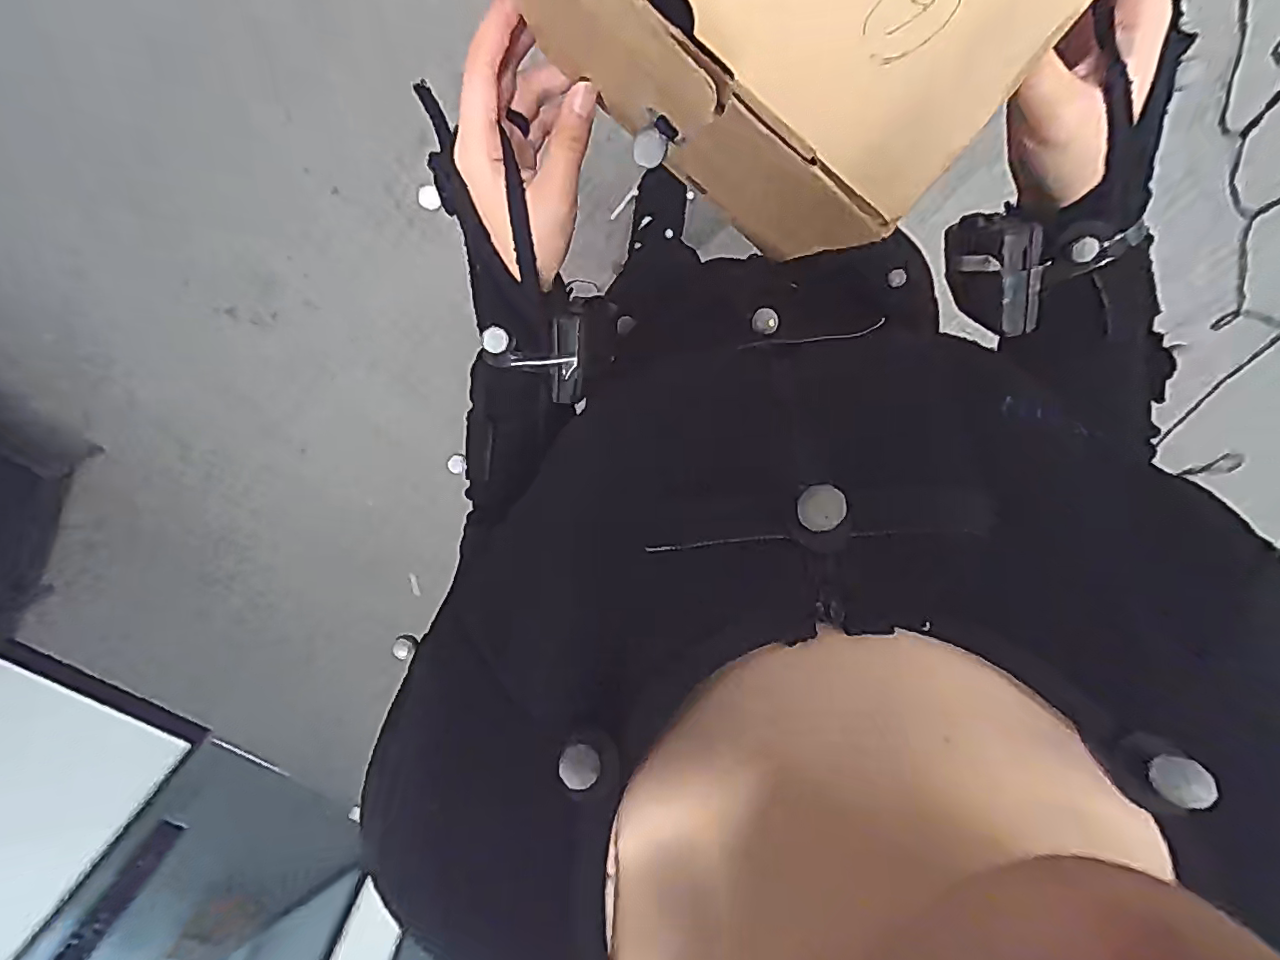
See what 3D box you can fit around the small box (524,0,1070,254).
[{"bbox_3d":[0.063,-0.210,0.208,0.168,0.176,0.179,37,108,-10],"label":"small box"}]
